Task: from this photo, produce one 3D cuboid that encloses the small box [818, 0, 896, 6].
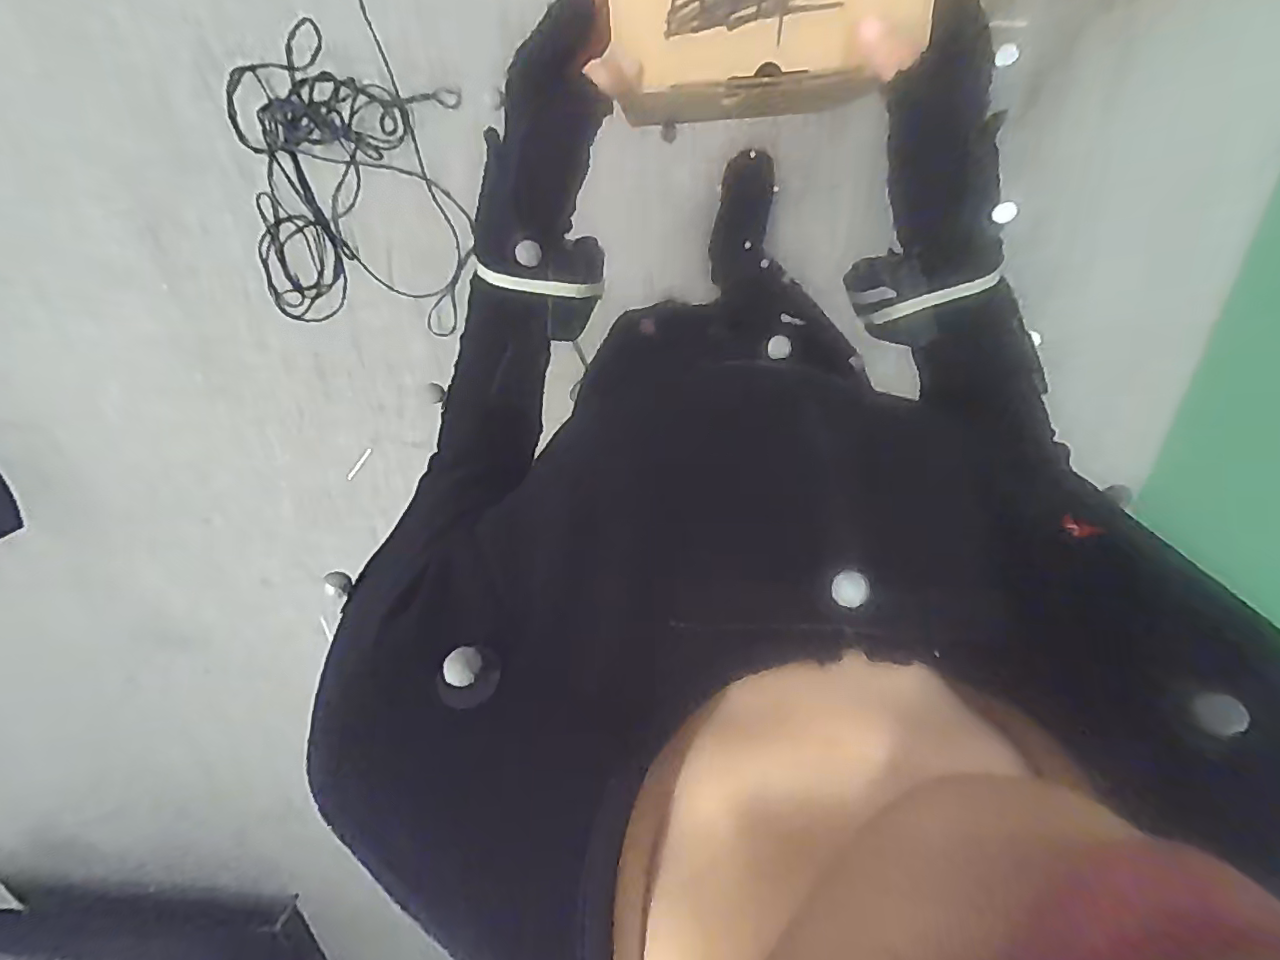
[{"bbox_3d":[0.415,-0.978,0.955,0.168,0.176,0.179,3,117,6],"label":"small box"}]
